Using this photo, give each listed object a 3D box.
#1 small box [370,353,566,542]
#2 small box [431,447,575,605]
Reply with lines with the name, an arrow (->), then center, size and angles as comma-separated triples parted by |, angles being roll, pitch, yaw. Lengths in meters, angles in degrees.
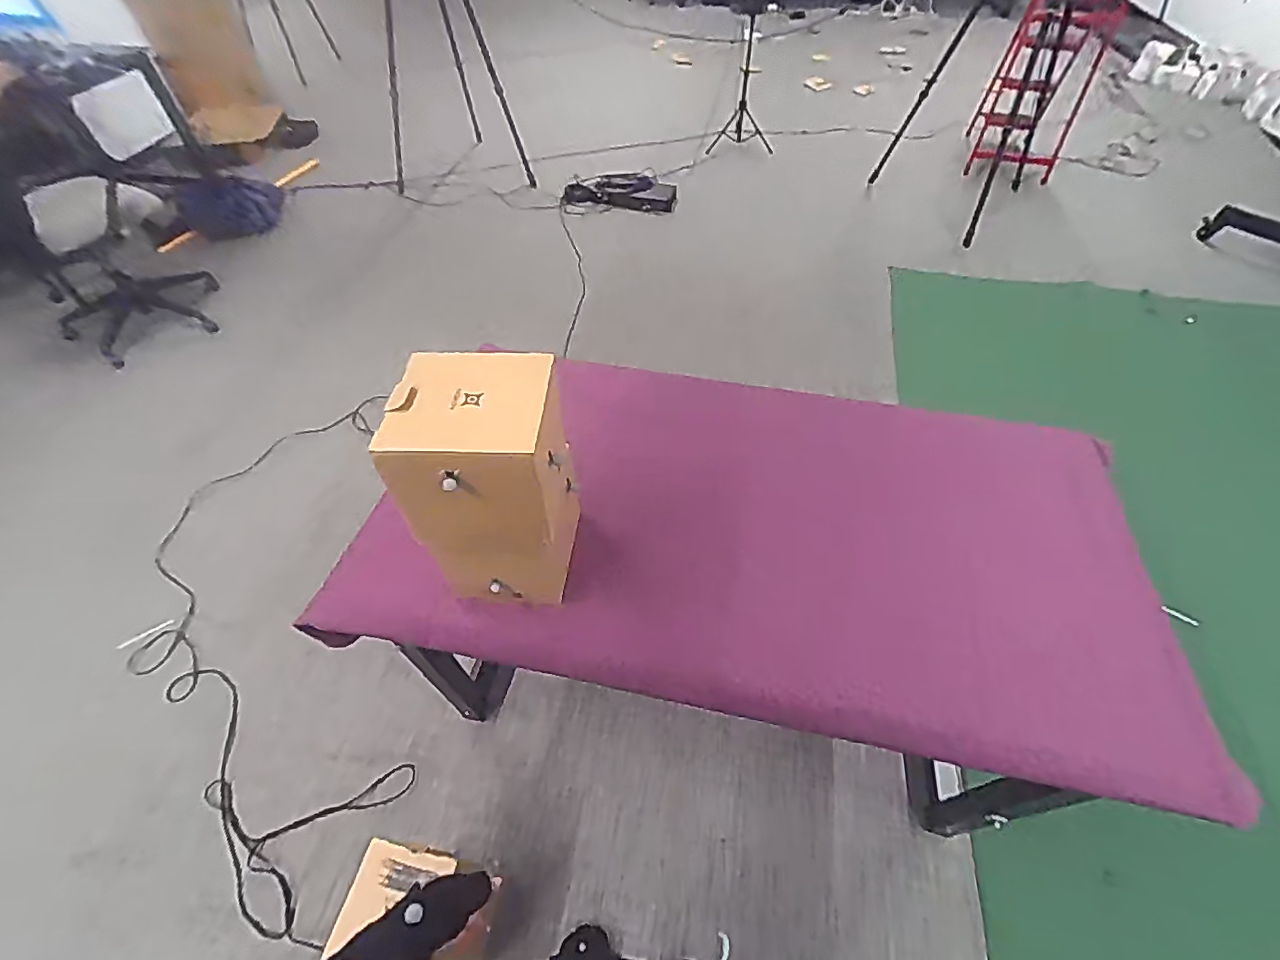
small box -> -0.190, -0.036, 0.666 | 0.179, 0.176, 0.168 | 1, 51, 1
small box -> -0.194, 0.060, 0.798 | 0.168, 0.176, 0.179 | 5, 50, 4
